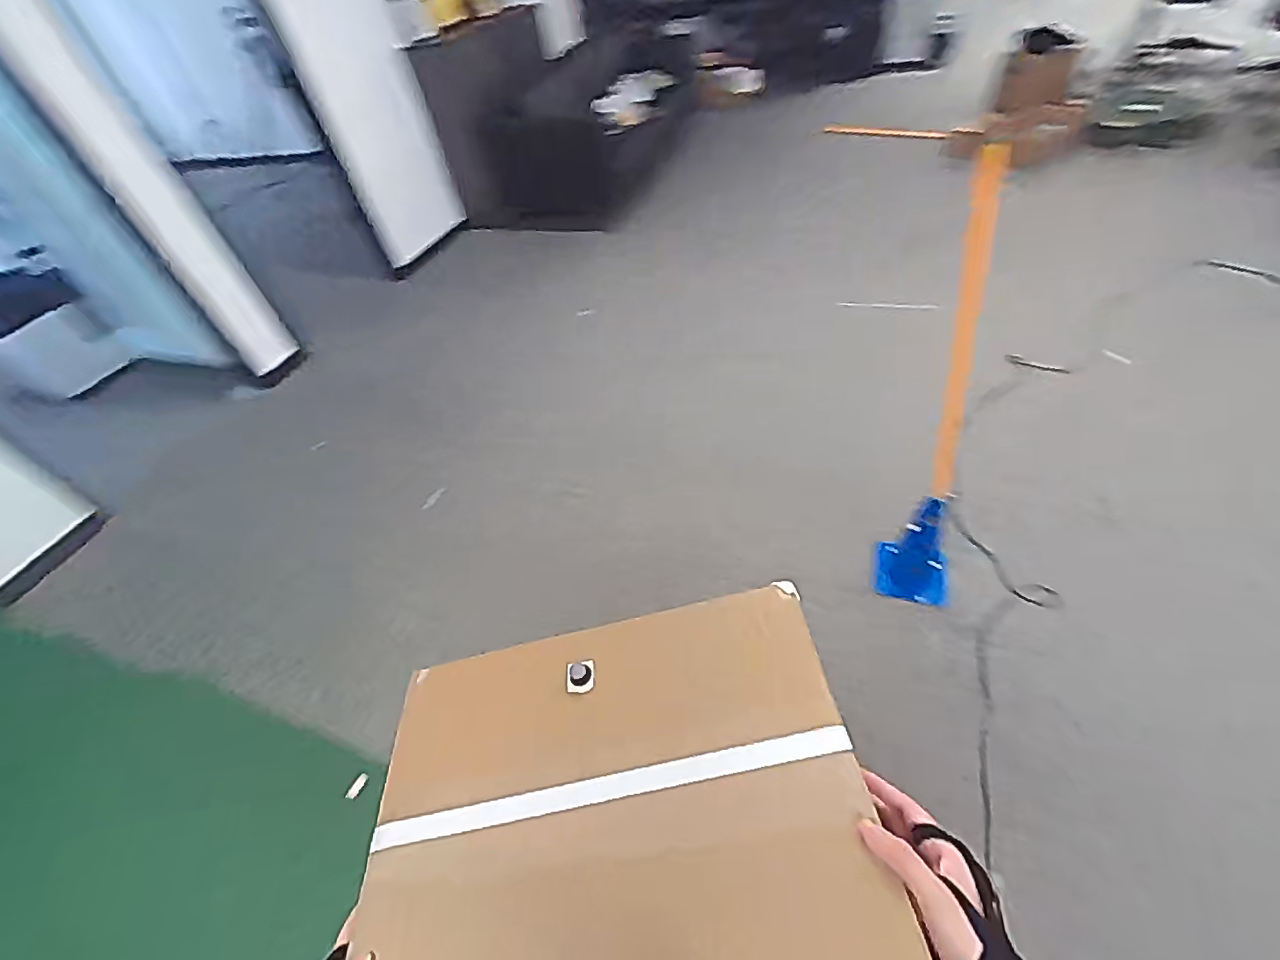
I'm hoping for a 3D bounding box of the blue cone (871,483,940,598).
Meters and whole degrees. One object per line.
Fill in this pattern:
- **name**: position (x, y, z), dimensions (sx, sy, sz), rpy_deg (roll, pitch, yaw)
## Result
- **blue cone**: position (0.775, 0.156, 1.522), dimensions (0.193, 0.380, 0.192), rpy_deg (6, 48, 18)
